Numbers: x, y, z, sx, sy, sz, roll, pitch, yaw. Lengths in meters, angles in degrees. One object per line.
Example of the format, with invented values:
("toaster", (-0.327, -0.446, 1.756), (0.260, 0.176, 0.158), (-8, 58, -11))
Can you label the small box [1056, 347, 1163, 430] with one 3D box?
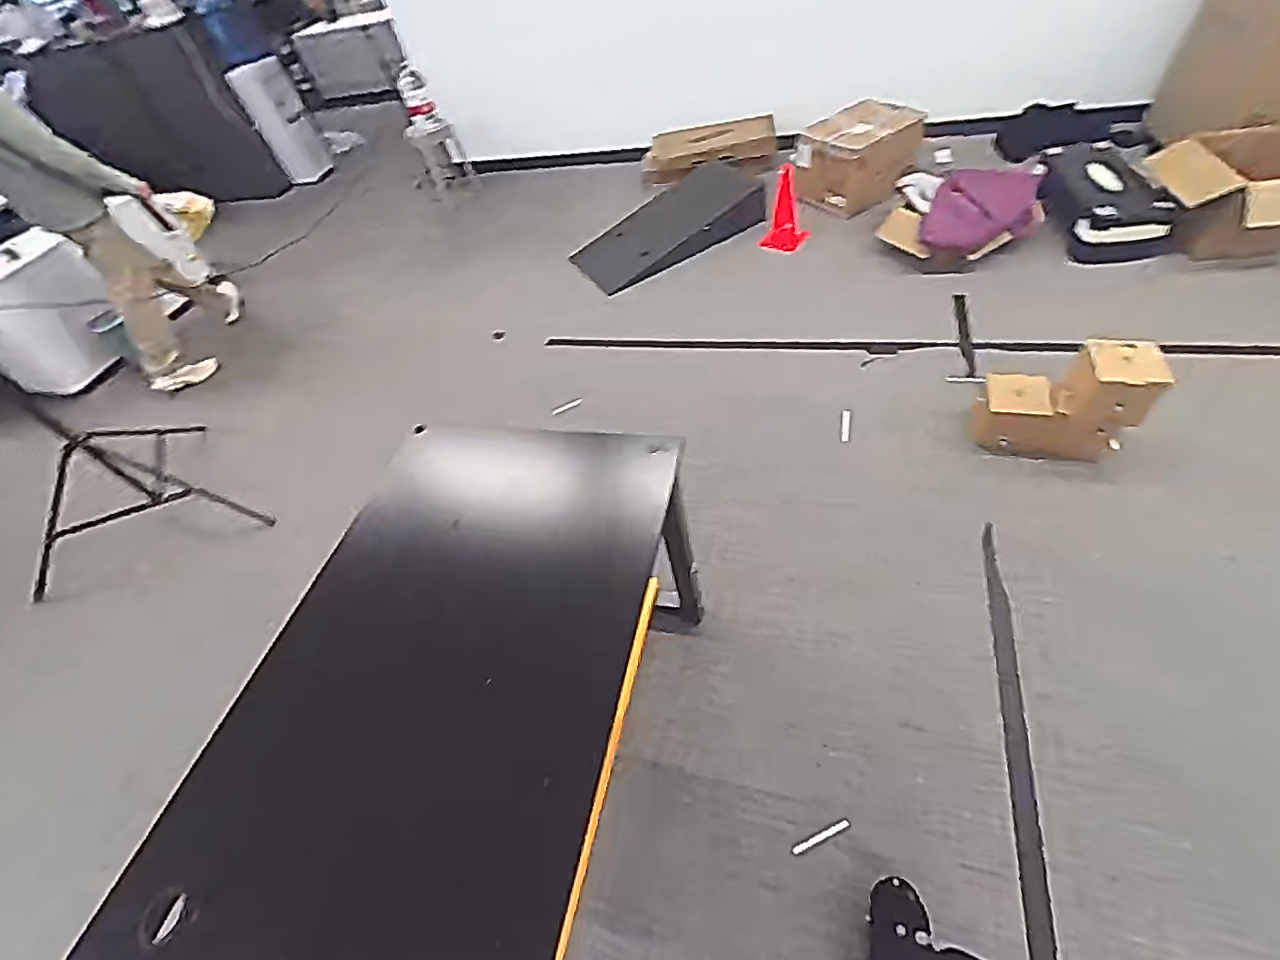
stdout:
("small box", (1.338, -0.262, 1.556), (0.168, 0.176, 0.179), (6, 54, 16))
